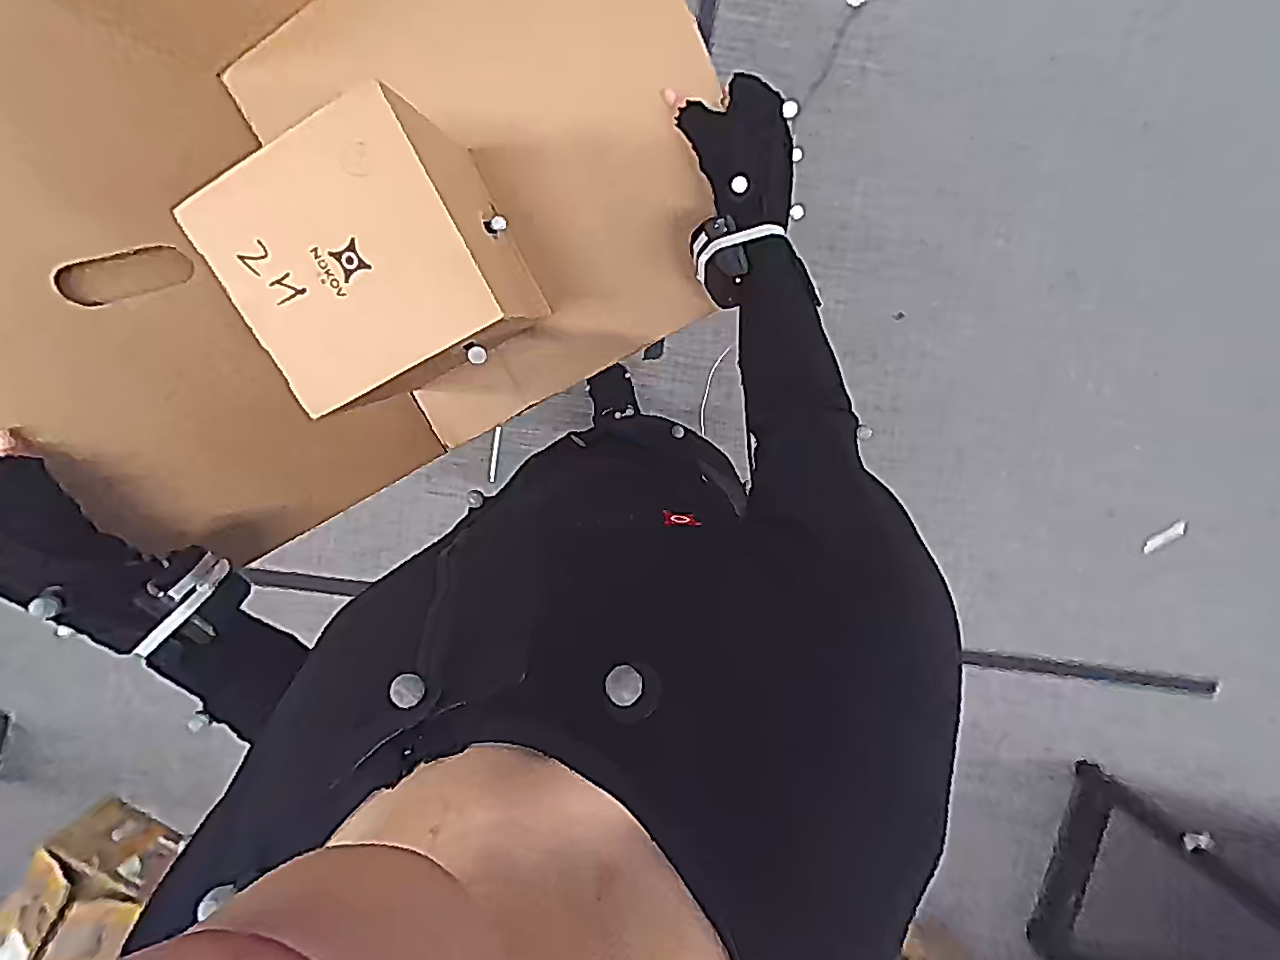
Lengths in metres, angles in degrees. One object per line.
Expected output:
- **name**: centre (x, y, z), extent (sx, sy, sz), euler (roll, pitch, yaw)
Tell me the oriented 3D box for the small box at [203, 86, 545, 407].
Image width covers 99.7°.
- **small box**: centre (-0.196, -0.183, 0.465), extent (0.179, 0.176, 0.168), euler (-23, 104, 10)
